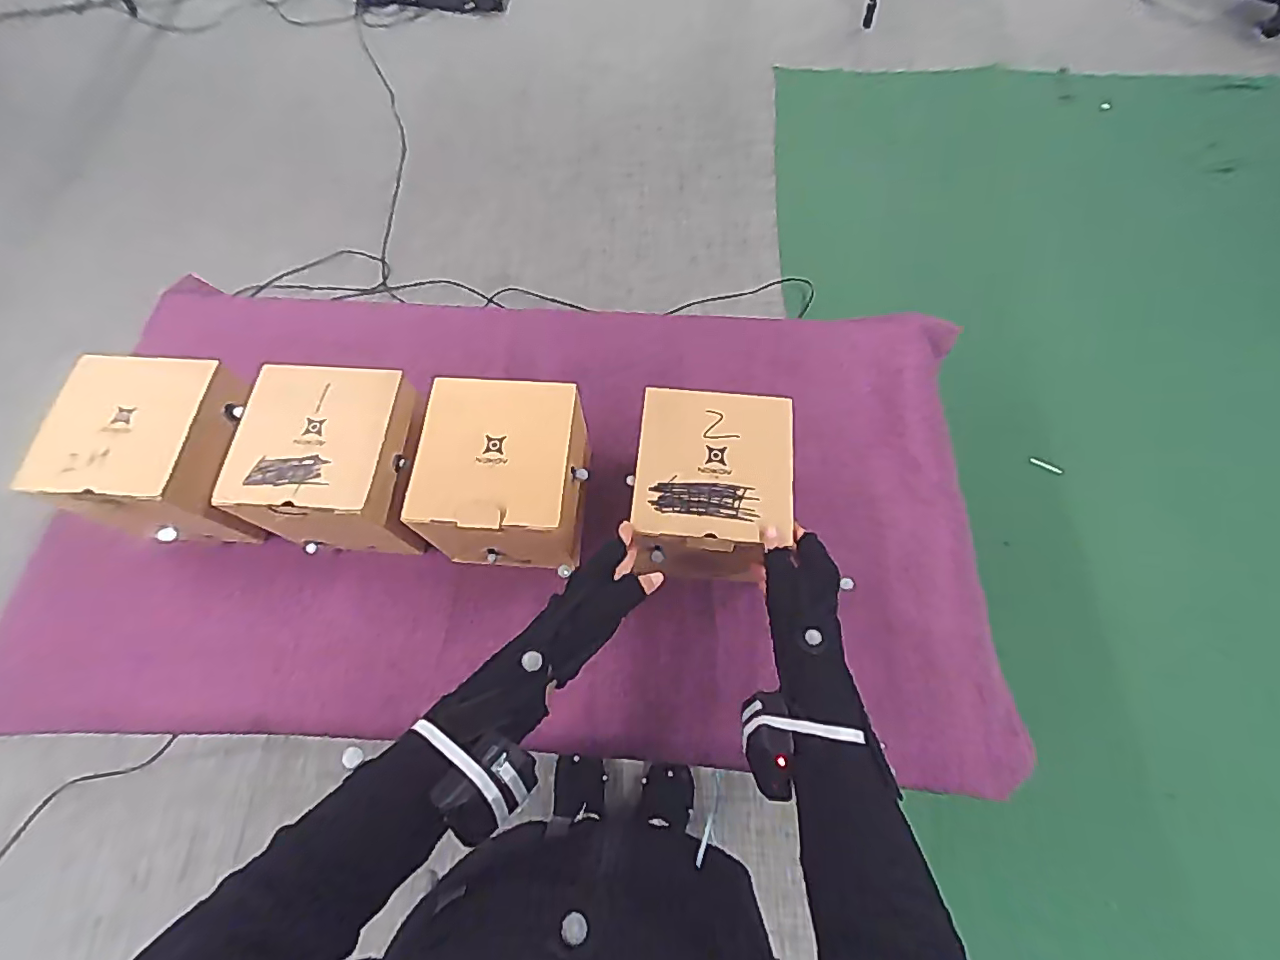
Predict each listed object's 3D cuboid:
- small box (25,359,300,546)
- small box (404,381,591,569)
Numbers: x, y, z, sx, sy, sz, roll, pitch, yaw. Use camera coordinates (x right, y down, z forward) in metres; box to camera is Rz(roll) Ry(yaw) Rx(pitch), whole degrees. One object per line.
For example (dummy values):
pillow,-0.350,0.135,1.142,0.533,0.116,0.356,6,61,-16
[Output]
small box,-0.570,-0.029,0.680,0.168,0.176,0.179,3,67,3
small box,-0.157,0.000,0.664,0.168,0.176,0.179,3,68,4
